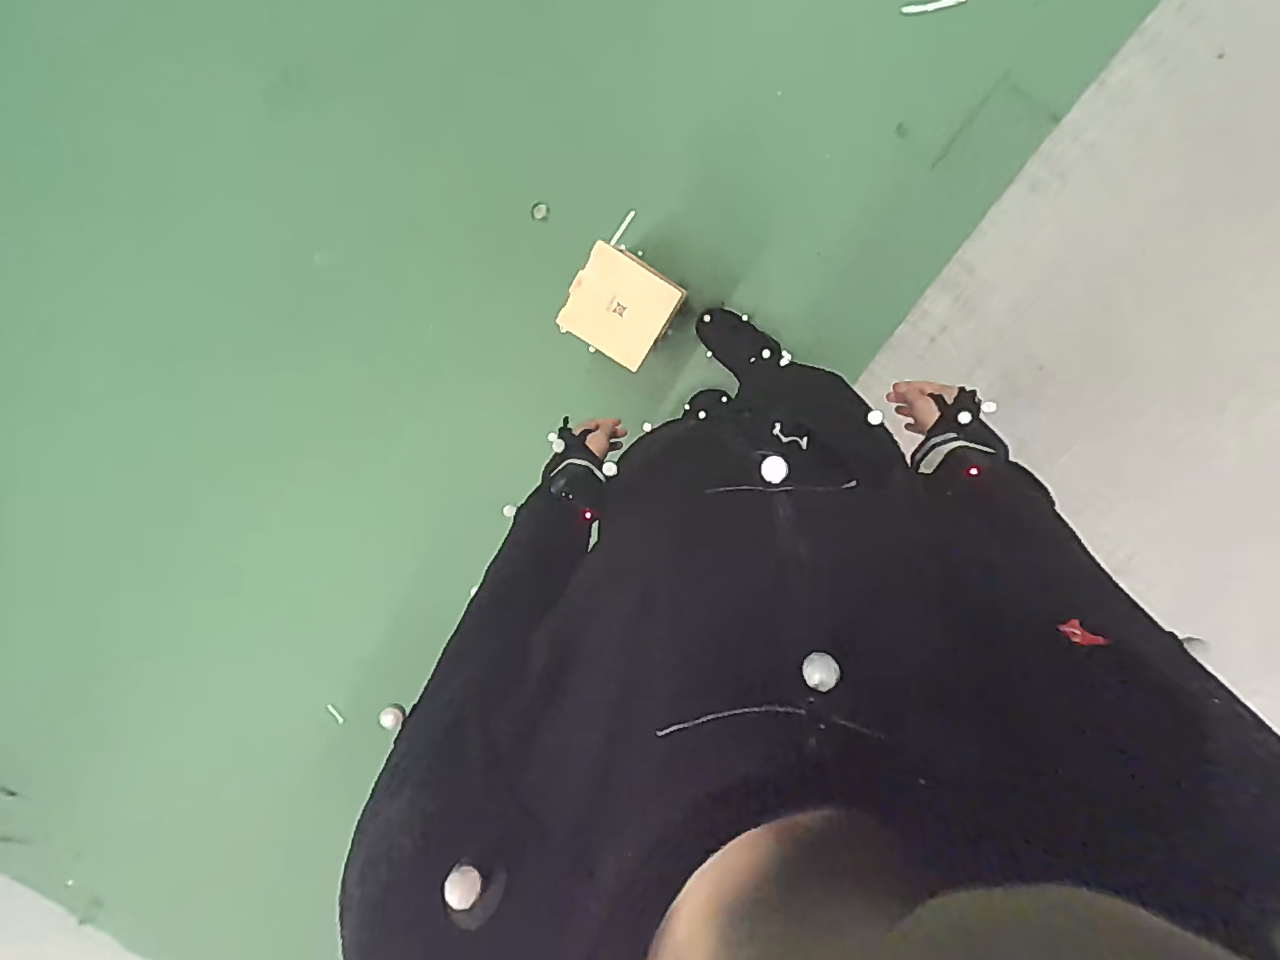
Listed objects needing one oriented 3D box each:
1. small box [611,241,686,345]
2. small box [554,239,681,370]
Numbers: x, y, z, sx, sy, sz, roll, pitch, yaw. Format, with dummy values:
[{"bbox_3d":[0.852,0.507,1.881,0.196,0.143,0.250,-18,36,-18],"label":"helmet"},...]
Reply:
[{"bbox_3d":[-0.013,-0.396,1.187,0.179,0.176,0.168,31,110,-5],"label":"small box"},{"bbox_3d":[-0.033,-0.336,1.037,0.179,0.176,0.168,31,109,-3],"label":"small box"}]
